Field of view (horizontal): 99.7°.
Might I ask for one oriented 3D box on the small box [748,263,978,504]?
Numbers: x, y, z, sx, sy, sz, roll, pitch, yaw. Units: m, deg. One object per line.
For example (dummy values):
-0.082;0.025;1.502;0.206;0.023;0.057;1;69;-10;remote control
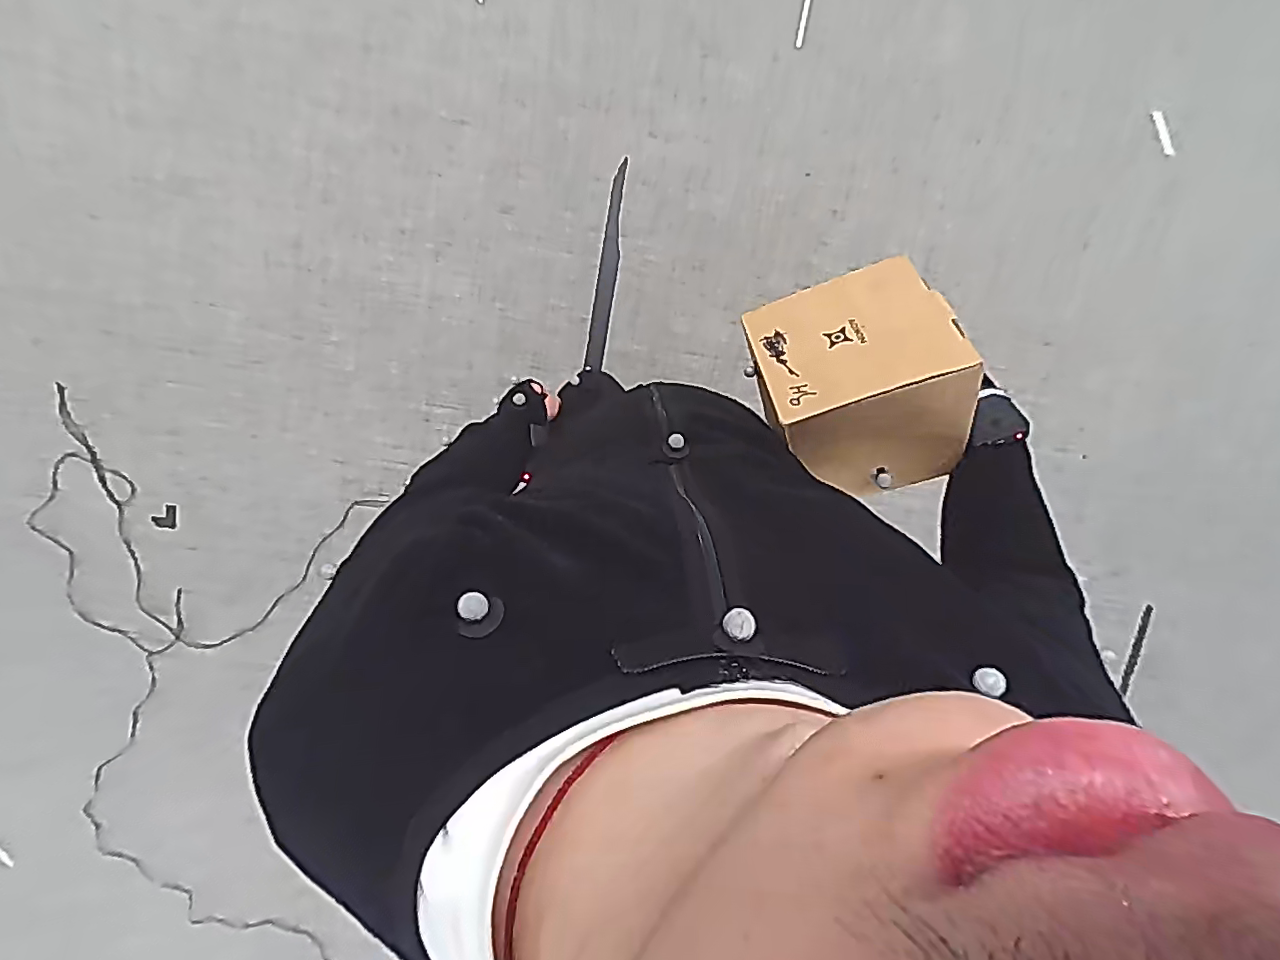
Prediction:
0.234;-0.098;0.600;0.179;0.168;0.176;-17;142;11;small box
